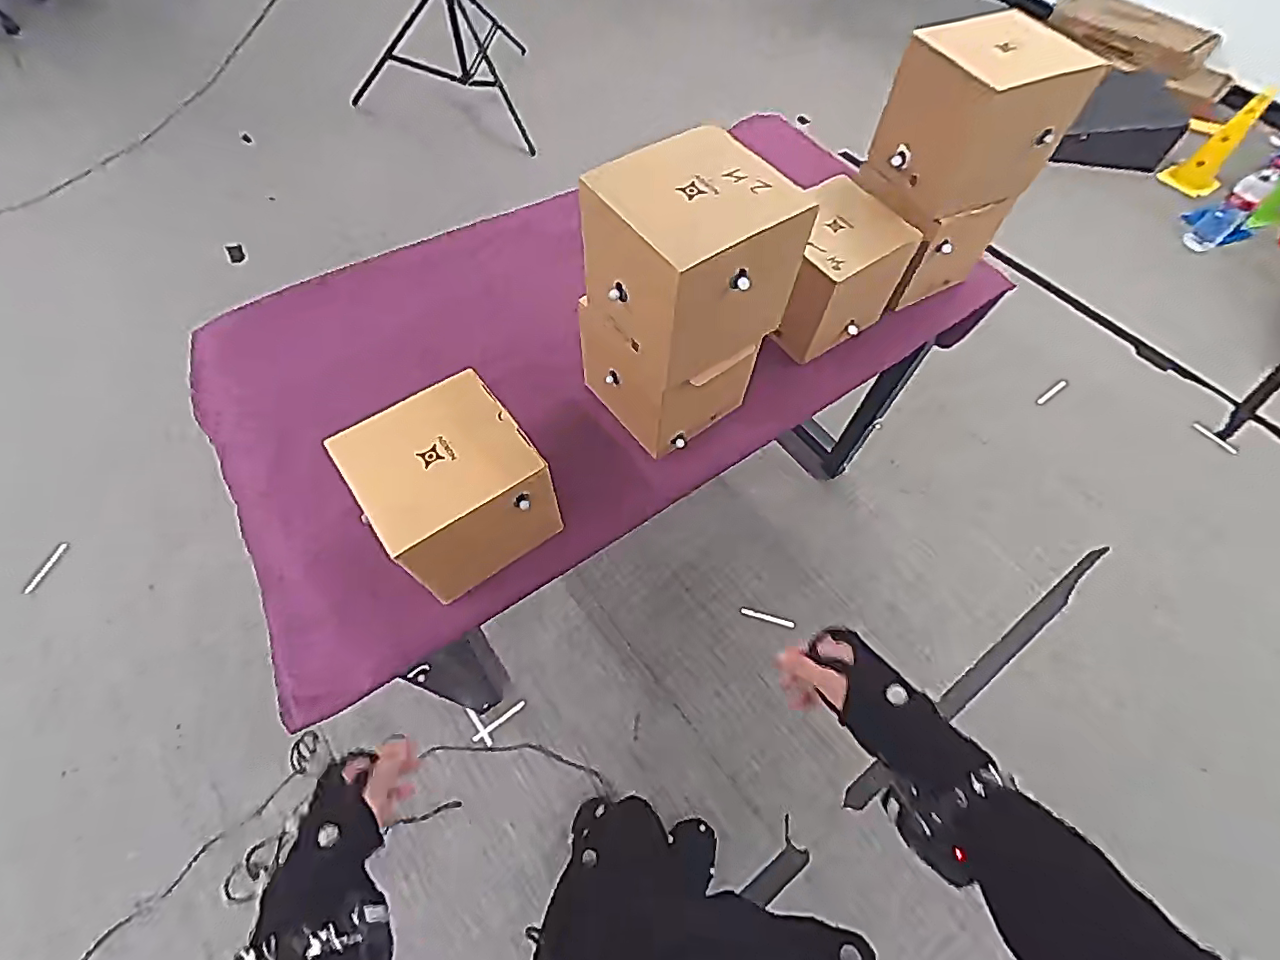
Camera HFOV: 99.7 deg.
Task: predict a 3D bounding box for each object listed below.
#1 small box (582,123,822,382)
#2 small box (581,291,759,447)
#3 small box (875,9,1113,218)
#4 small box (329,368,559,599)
[{"bbox_3d":[0.057,-0.238,0.586,0.179,0.176,0.168,-31,68,-18],"label":"small box"},{"bbox_3d":[0.040,-0.168,0.735,0.168,0.176,0.179,-34,67,-19],"label":"small box"},{"bbox_3d":[0.463,-0.495,0.740,0.179,0.176,0.168,-21,62,-11],"label":"small box"},{"bbox_3d":[-0.211,0.011,0.630,0.179,0.176,0.168,-33,68,-19],"label":"small box"}]
